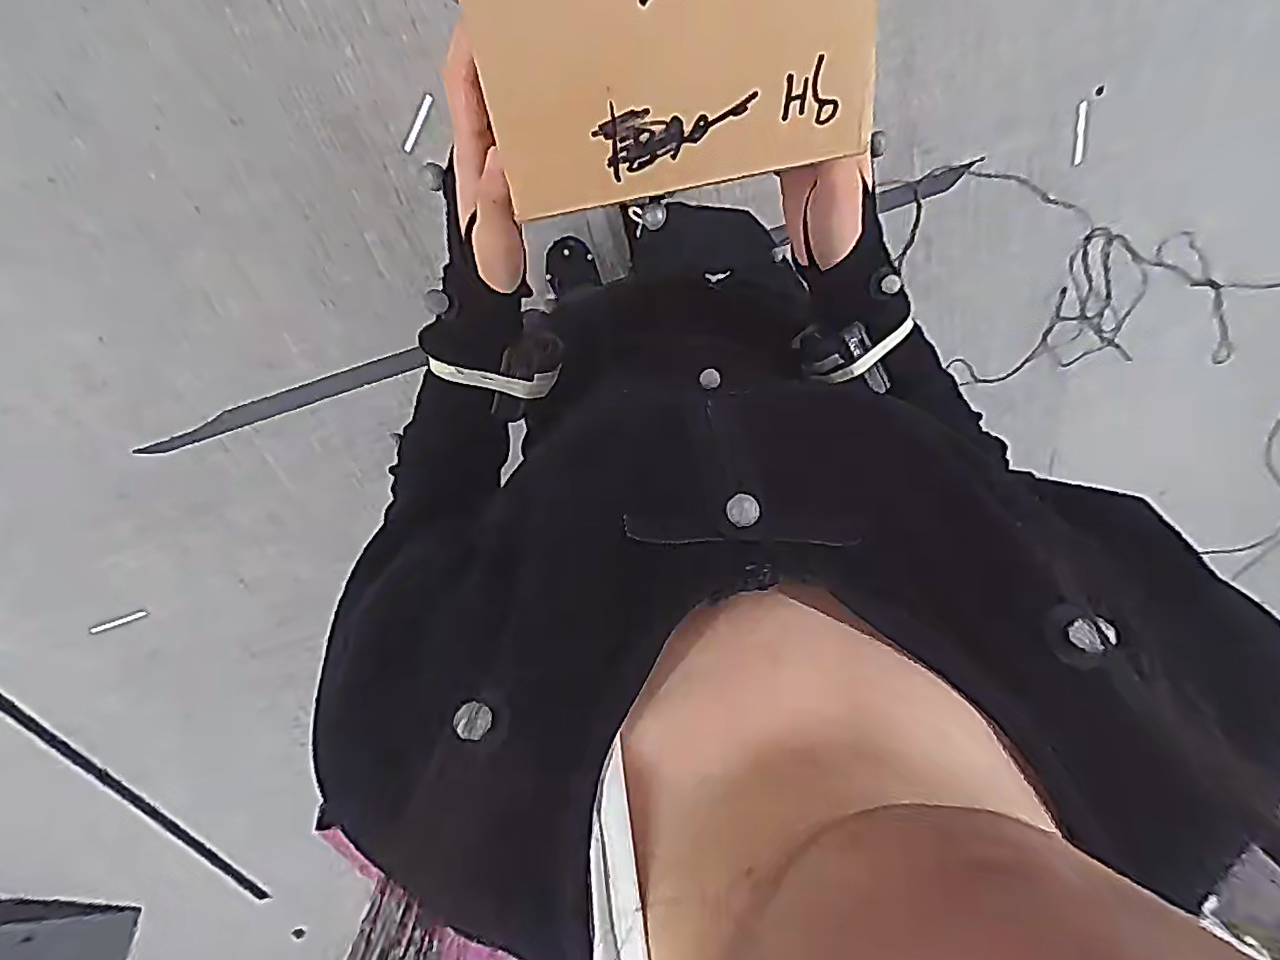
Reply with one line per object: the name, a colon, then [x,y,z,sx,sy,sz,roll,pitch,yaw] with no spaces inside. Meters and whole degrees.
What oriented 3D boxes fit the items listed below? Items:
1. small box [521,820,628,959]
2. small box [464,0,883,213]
small box: [-0.128,0.813,1.061,0.168,0.176,0.179,-15,118,-4]
small box: [0.006,-0.244,0.273,0.168,0.176,0.179,-10,117,3]
